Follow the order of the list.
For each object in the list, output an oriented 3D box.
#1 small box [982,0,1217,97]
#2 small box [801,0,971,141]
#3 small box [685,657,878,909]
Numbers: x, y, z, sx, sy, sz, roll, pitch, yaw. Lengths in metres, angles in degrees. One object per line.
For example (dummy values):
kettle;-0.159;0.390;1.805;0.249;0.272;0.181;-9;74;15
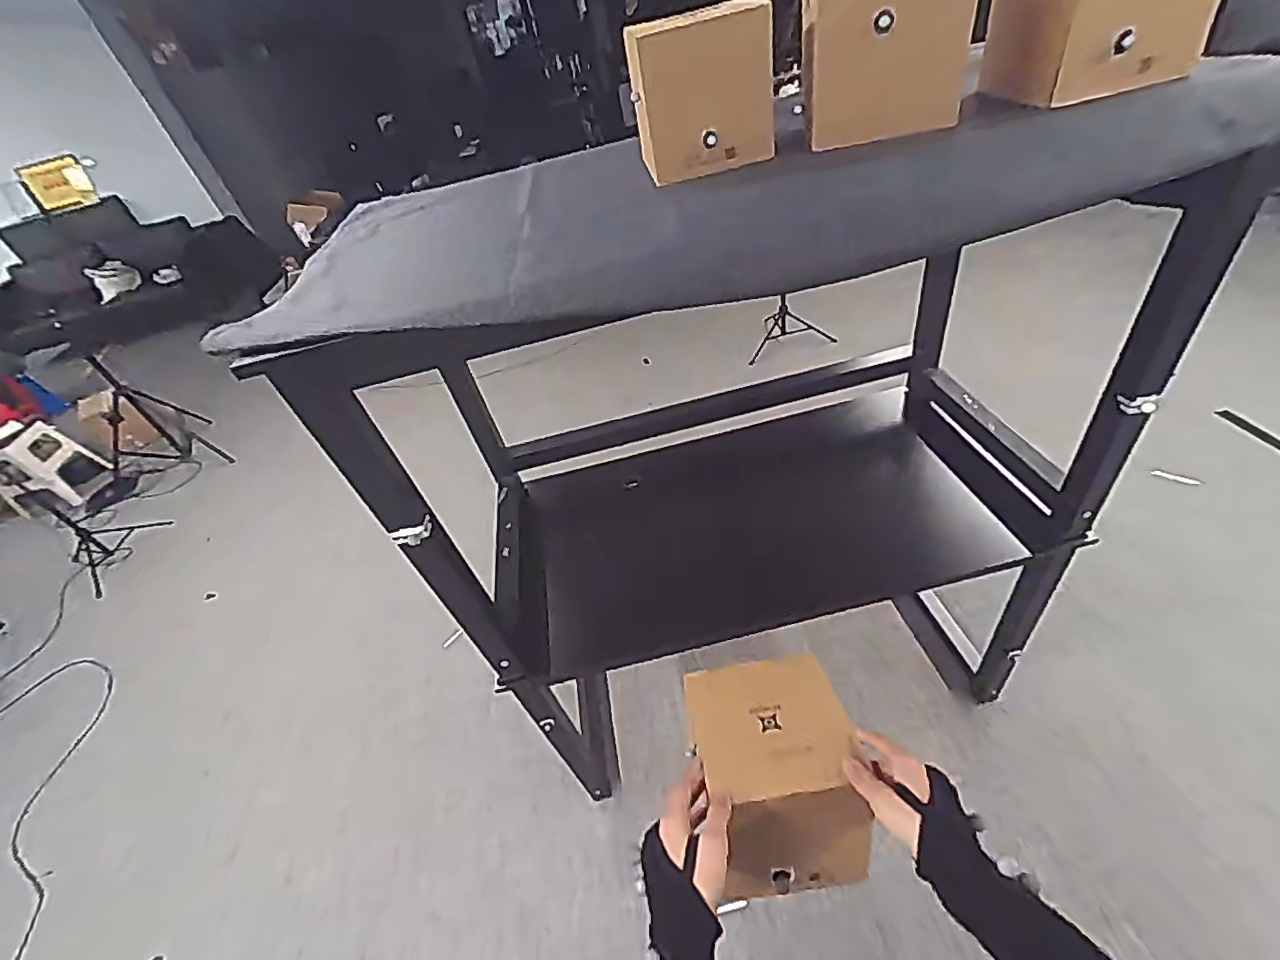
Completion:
small box;0.551;-0.585;0.653;0.168;0.176;0.179;-11;42;5
small box;0.305;-0.558;0.695;0.179;0.176;0.168;-3;43;12
small box;0.147;0.334;0.614;0.168;0.176;0.179;-8;24;-1
